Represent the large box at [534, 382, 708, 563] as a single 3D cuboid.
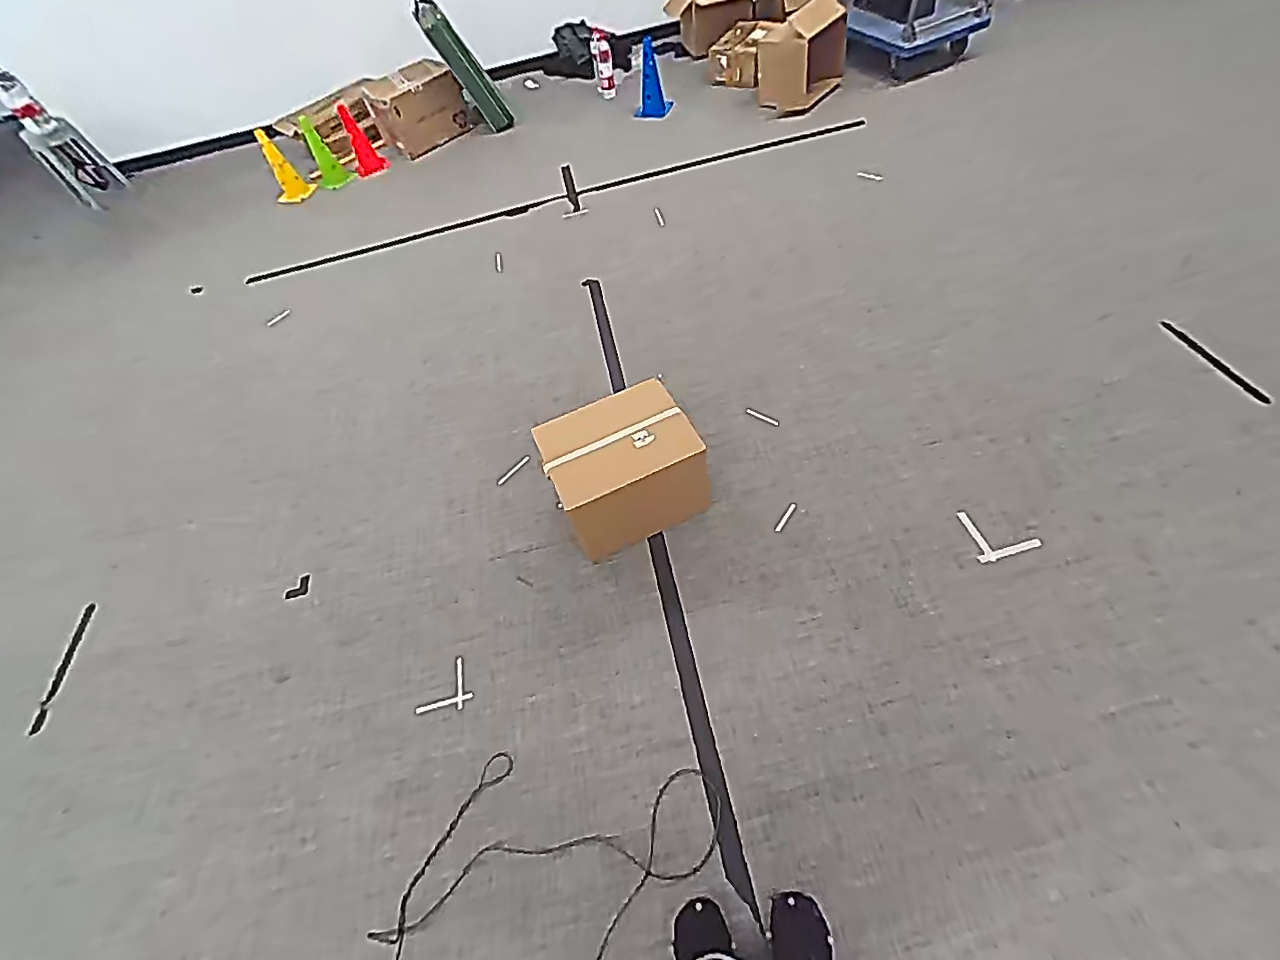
[{"bbox_3d":[-0.047,-0.018,1.597,0.408,0.320,0.320,-23,56,-8],"label":"large box"}]
